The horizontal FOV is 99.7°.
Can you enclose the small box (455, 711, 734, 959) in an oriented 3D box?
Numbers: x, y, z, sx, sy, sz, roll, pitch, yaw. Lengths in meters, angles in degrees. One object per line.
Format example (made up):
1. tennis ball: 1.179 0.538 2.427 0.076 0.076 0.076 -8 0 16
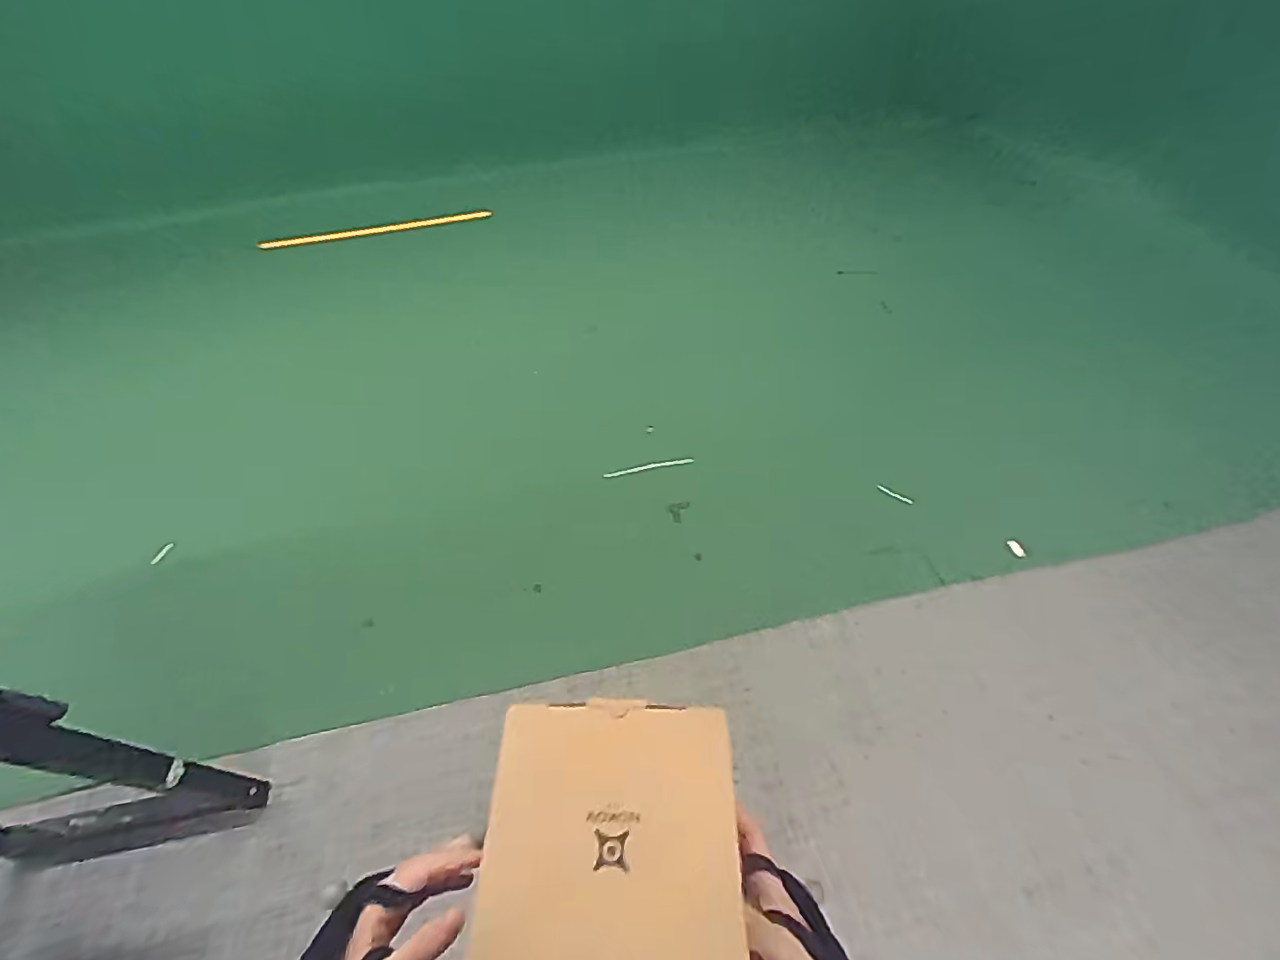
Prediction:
1. small box: -0.028 0.293 0.409 0.168 0.176 0.179 1 47 -2
